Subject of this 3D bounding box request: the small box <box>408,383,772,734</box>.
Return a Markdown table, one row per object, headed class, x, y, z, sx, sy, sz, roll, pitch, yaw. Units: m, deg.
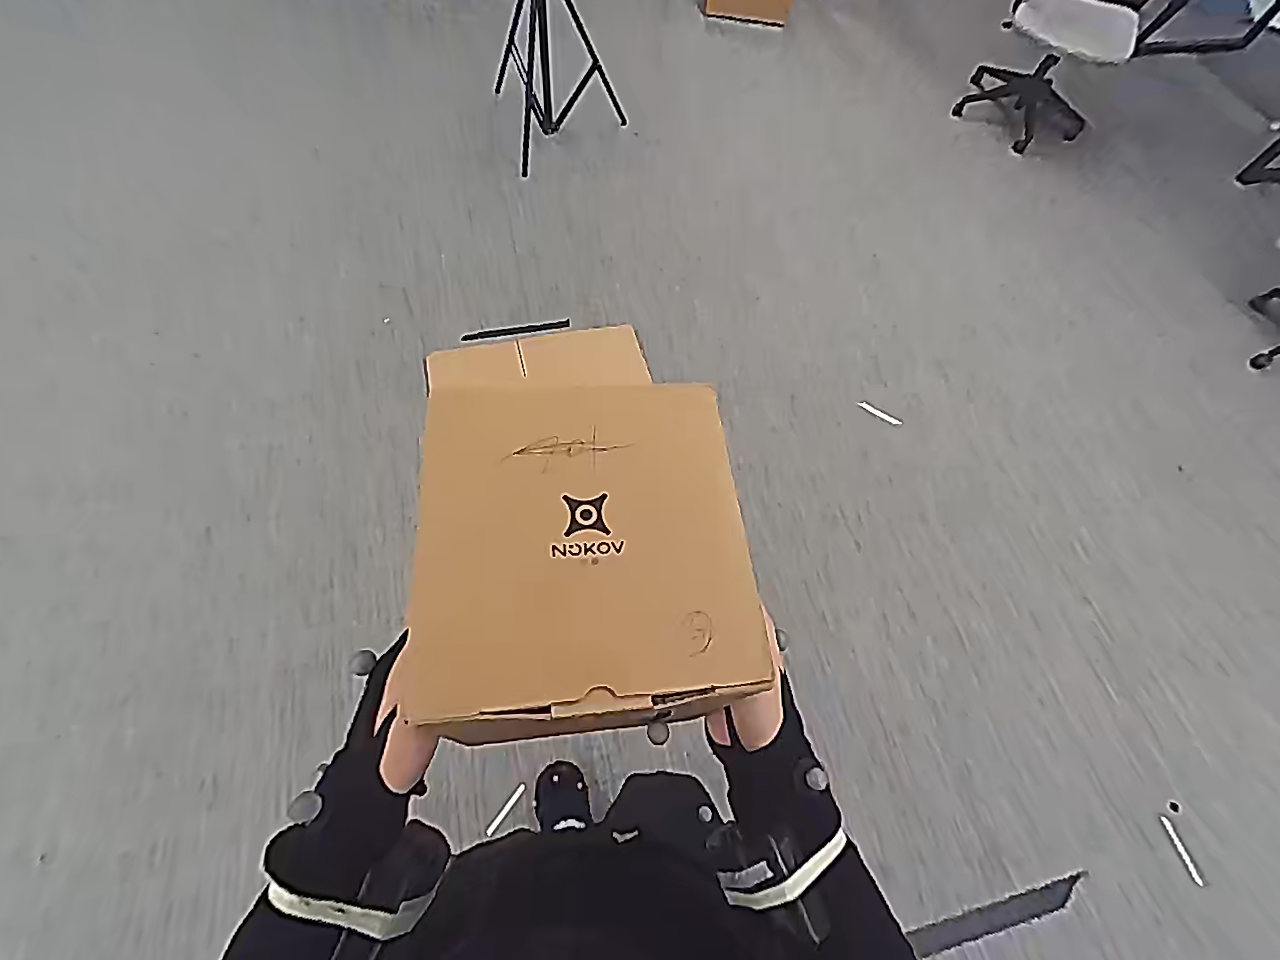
| class | x | y | z | sx | sy | sz | roll | pitch | yaw |
| --- | --- | --- | --- | --- | --- | --- | --- | --- | --- |
| small box | -0.037 | 0.059 | 0.346 | 0.168 | 0.176 | 0.179 | -2 | 61 | -11 |
